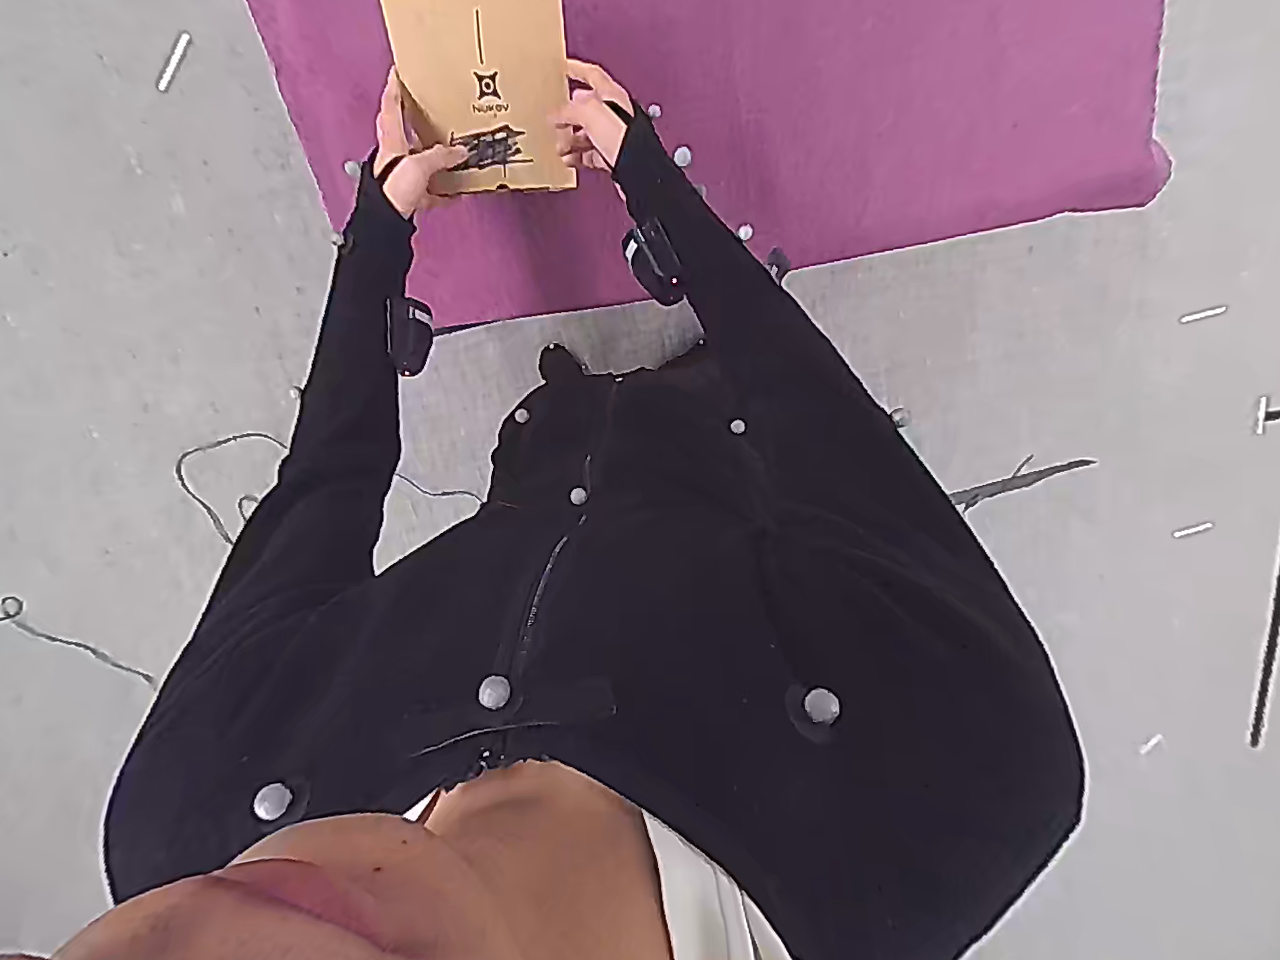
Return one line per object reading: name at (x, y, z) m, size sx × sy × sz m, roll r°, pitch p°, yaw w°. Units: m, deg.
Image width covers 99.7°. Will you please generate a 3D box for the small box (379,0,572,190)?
small box at (-0.168, -0.441, 0.602) m, size 0.168 × 0.176 × 0.179 m, roll -7°, pitch 130°, yaw -7°
